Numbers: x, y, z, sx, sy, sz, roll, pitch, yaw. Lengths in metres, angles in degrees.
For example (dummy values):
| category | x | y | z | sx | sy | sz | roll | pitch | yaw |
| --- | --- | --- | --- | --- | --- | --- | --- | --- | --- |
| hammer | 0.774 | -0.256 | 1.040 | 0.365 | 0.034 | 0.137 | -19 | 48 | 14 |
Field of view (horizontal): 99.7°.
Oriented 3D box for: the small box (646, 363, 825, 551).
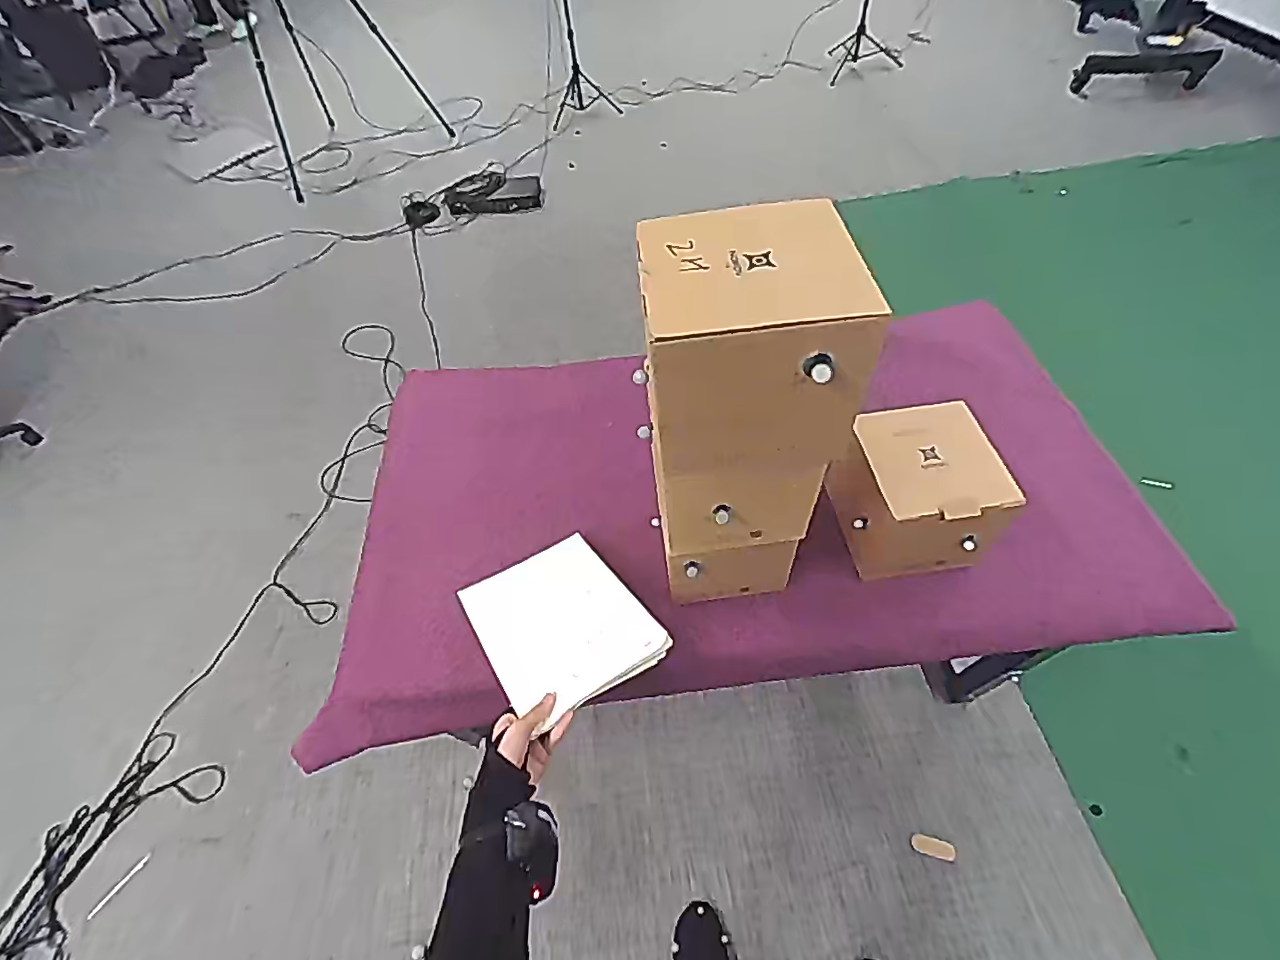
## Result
| category | x | y | z | sx | sy | sz | roll | pitch | yaw |
| --- | --- | --- | --- | --- | --- | --- | --- | --- | --- |
| small box | 0.102 | -0.029 | 0.636 | 0.168 | 0.176 | 0.179 | -7 | 53 | 1 |

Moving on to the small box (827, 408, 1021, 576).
| category | x | y | z | sx | sy | sz | roll | pitch | yaw |
| --- | --- | --- | --- | --- | --- | --- | --- | --- | --- |
| small box | 0.384 | 0.025 | 0.769 | 0.168 | 0.176 | 0.179 | -7 | 53 | 0 |

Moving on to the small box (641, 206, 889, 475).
| category | x | y | z | sx | sy | sz | roll | pitch | yaw |
| --- | --- | --- | --- | --- | --- | --- | --- | --- | --- |
| small box | 0.096 | -0.122 | 0.499 | 0.179 | 0.176 | 0.168 | -6 | 53 | 3 |
